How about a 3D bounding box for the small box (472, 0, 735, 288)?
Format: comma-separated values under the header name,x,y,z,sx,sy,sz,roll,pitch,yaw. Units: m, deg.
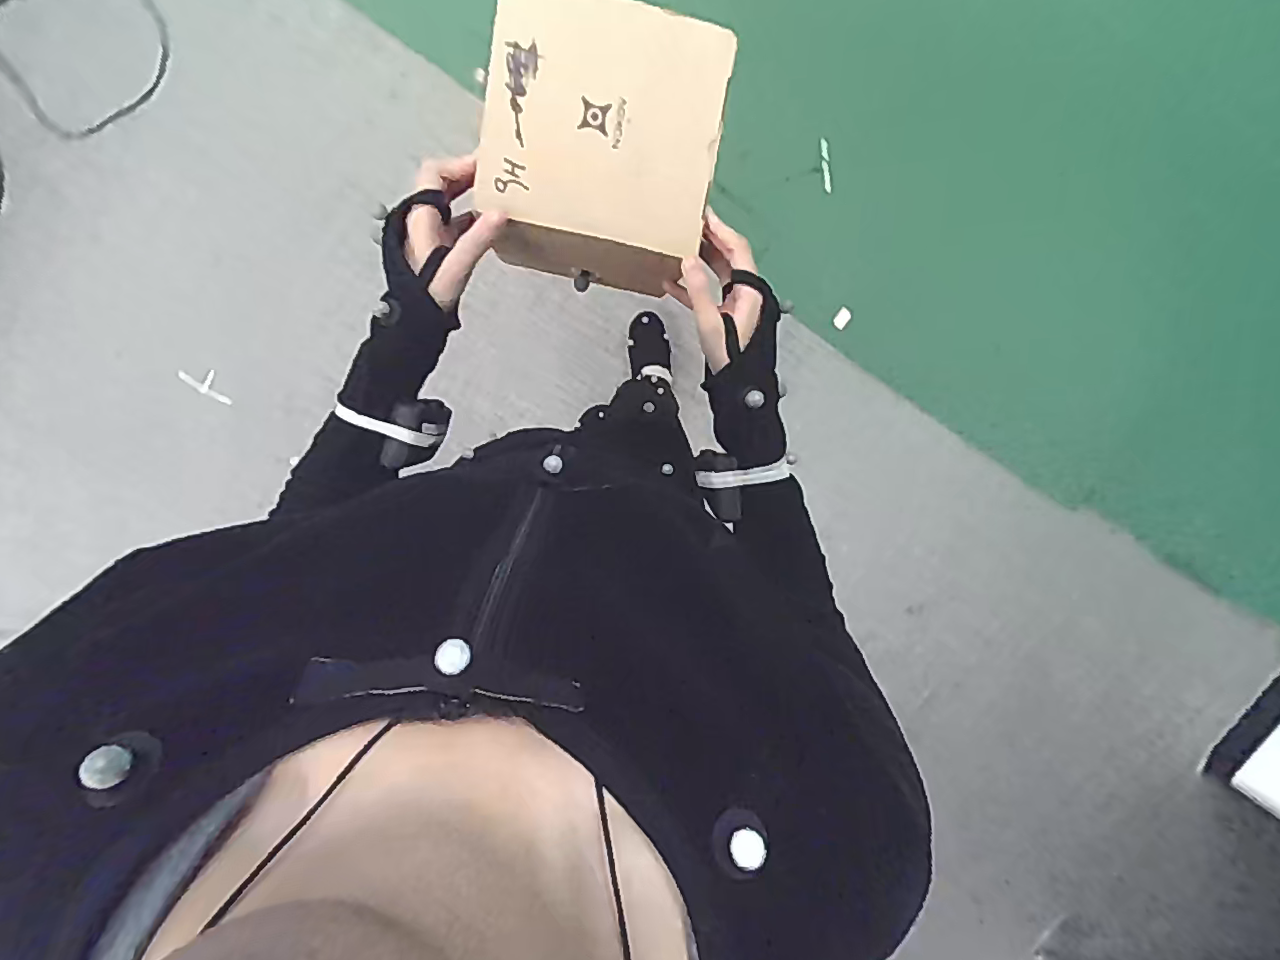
name,x,y,z,sx,sy,sz,roll,pitch,yaw
small box,-0.037,-0.279,0.480,0.179,0.176,0.168,9,98,-9
